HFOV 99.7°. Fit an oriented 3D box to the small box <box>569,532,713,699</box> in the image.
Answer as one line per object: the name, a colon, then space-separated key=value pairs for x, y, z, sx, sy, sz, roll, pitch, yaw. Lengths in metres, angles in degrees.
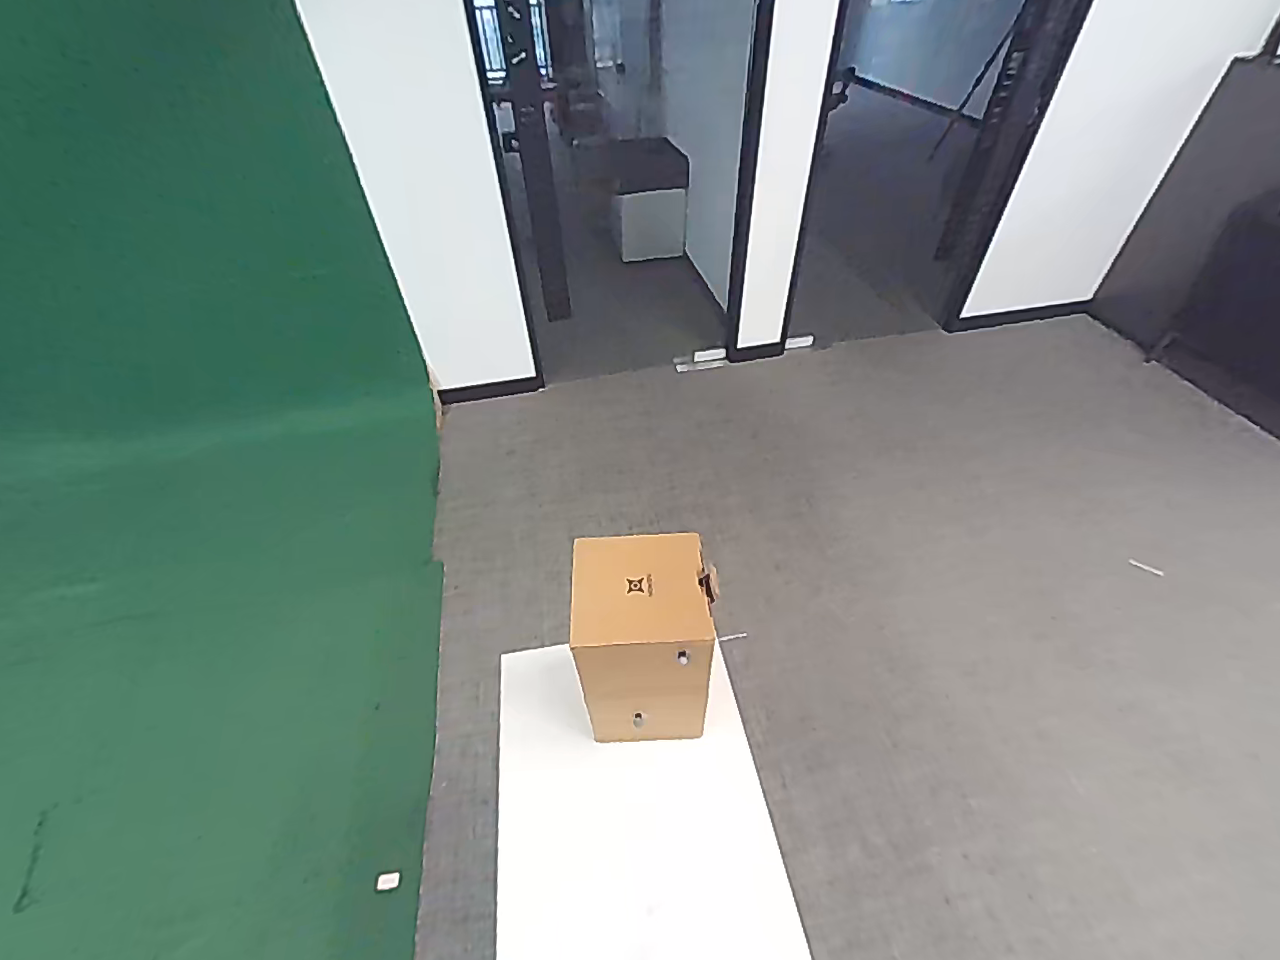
small box: x=0.001 y=0.191 z=0.753 sx=0.179 sy=0.176 sz=0.168 roll=-2 pitch=45 yaw=-1

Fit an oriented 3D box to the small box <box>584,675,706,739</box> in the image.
small box: x=0.009 y=0.303 z=0.871 sx=0.179 sy=0.176 sz=0.168 roll=-3 pitch=46 yaw=0
